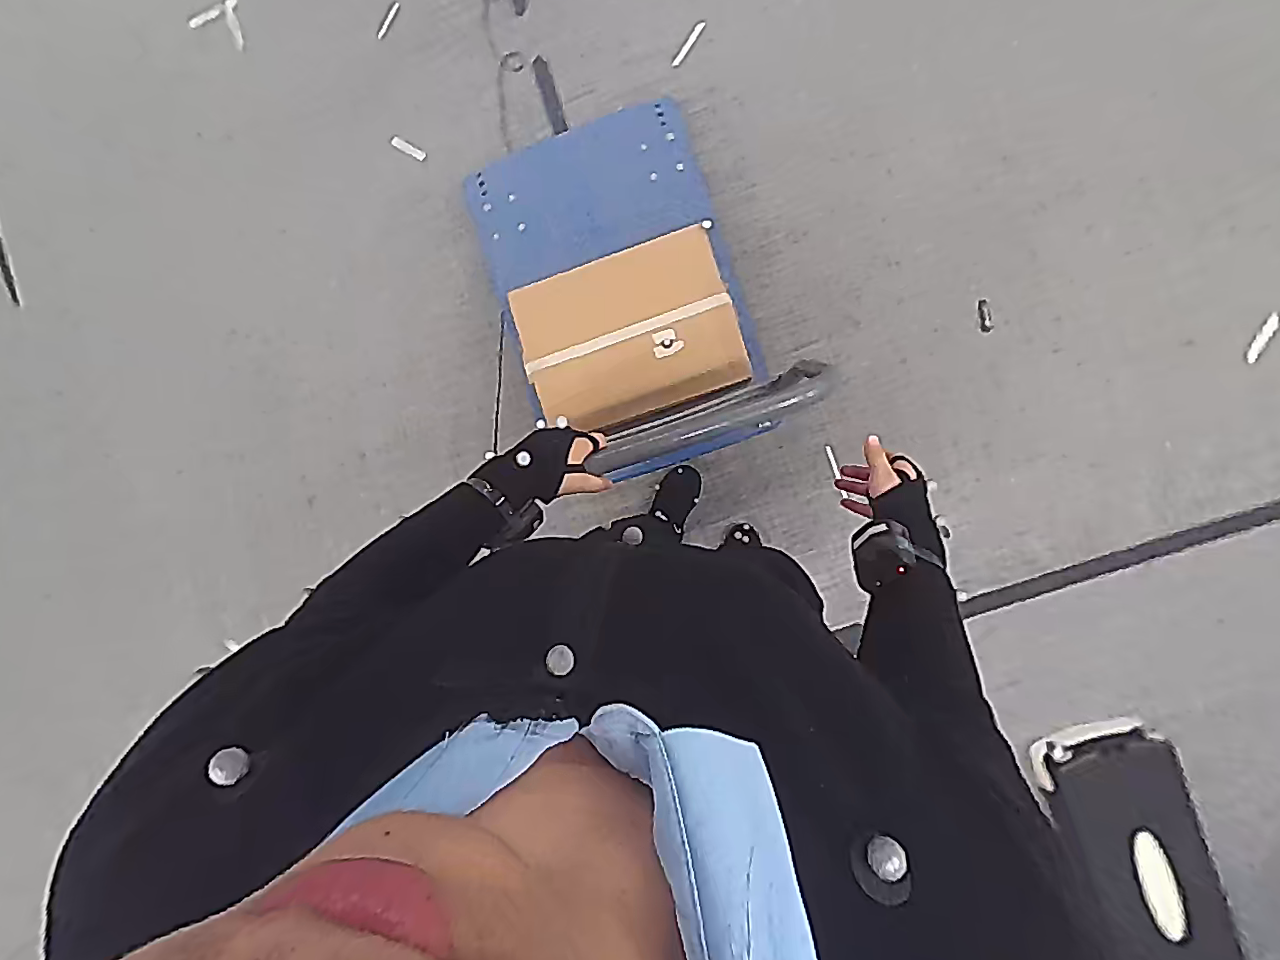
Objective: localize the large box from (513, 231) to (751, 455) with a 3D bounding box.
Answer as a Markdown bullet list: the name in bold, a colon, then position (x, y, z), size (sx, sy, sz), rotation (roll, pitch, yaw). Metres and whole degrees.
- **large box**: position (-0.010, -0.269, 1.192), size (0.408, 0.320, 0.320), rotation (-18, 88, 4)
